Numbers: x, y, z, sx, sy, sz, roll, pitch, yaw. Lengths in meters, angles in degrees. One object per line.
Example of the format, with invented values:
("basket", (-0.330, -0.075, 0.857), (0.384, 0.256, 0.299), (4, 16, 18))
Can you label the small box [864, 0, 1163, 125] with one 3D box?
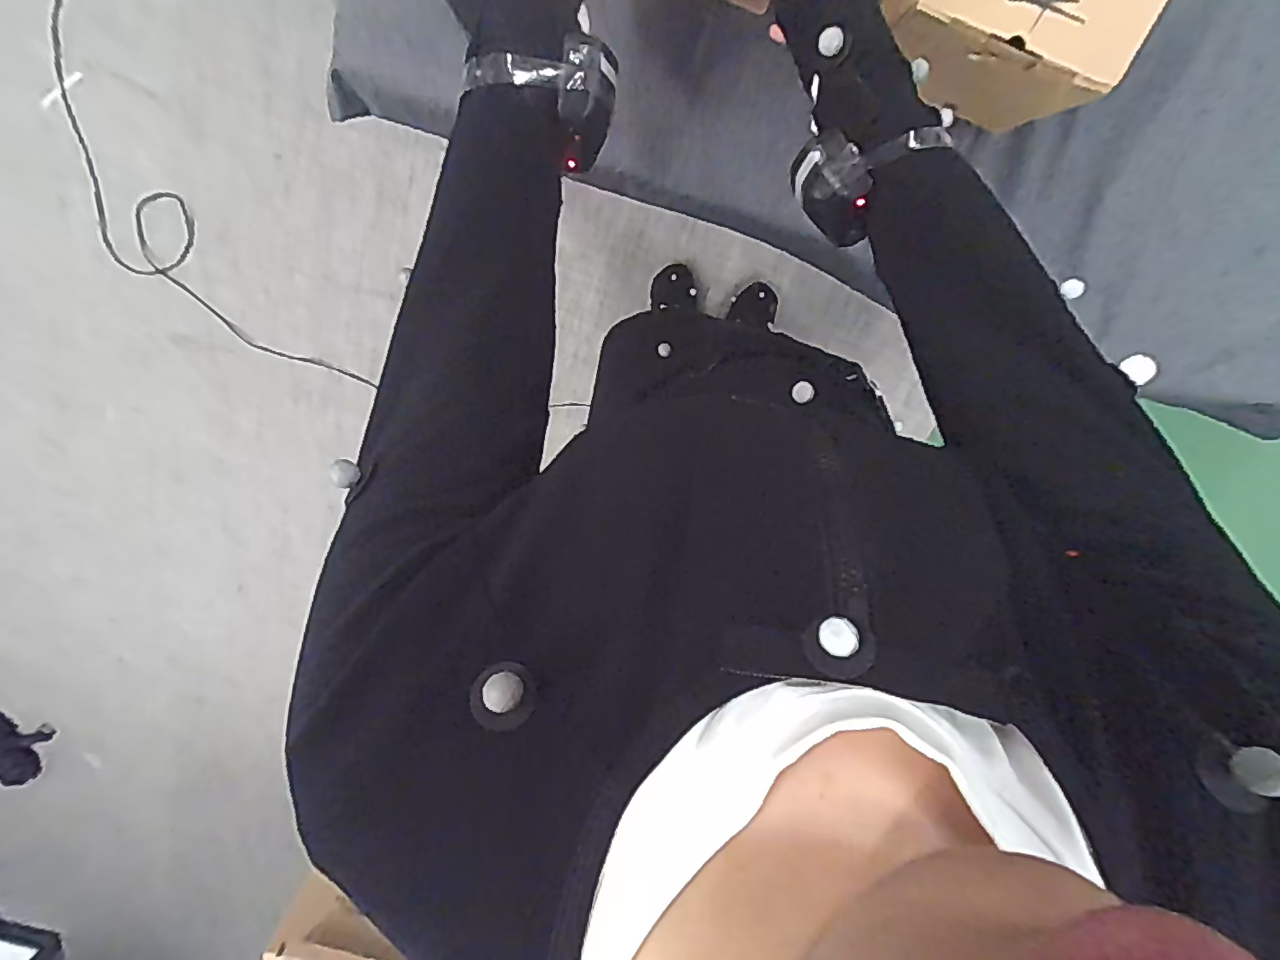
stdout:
("small box", (0.306, -0.420, 0.435), (0.168, 0.176, 0.179), (20, 113, -5))
